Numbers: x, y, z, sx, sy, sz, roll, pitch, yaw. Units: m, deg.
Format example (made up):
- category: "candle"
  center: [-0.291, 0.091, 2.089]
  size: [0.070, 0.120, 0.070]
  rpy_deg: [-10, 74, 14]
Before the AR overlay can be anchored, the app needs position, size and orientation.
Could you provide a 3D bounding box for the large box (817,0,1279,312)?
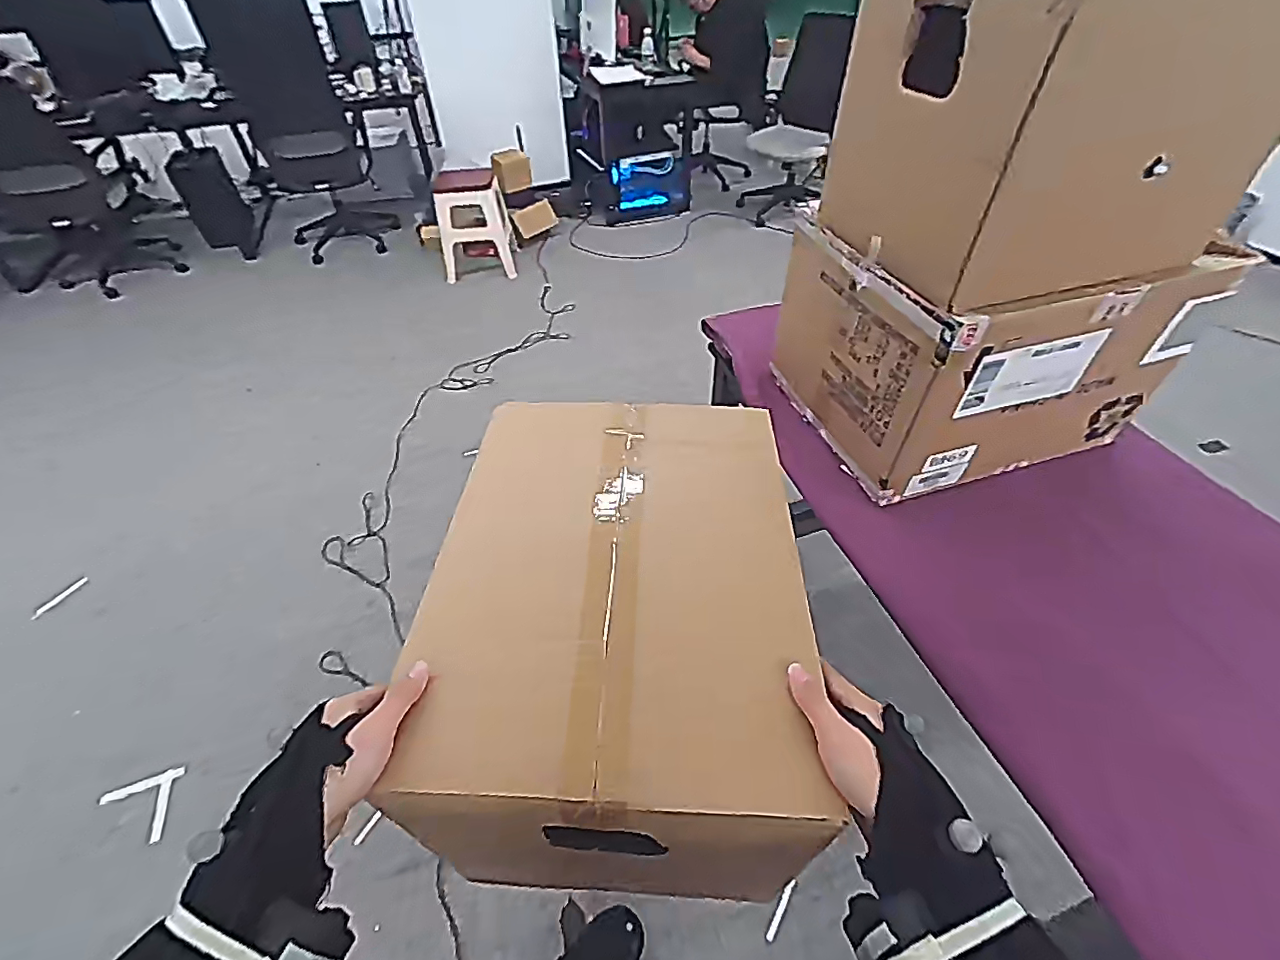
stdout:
- category: "large box"
  center: [0.507, -0.458, 0.697]
  size: [0.408, 0.320, 0.320]
  rpy_deg: [-16, 46, -12]
